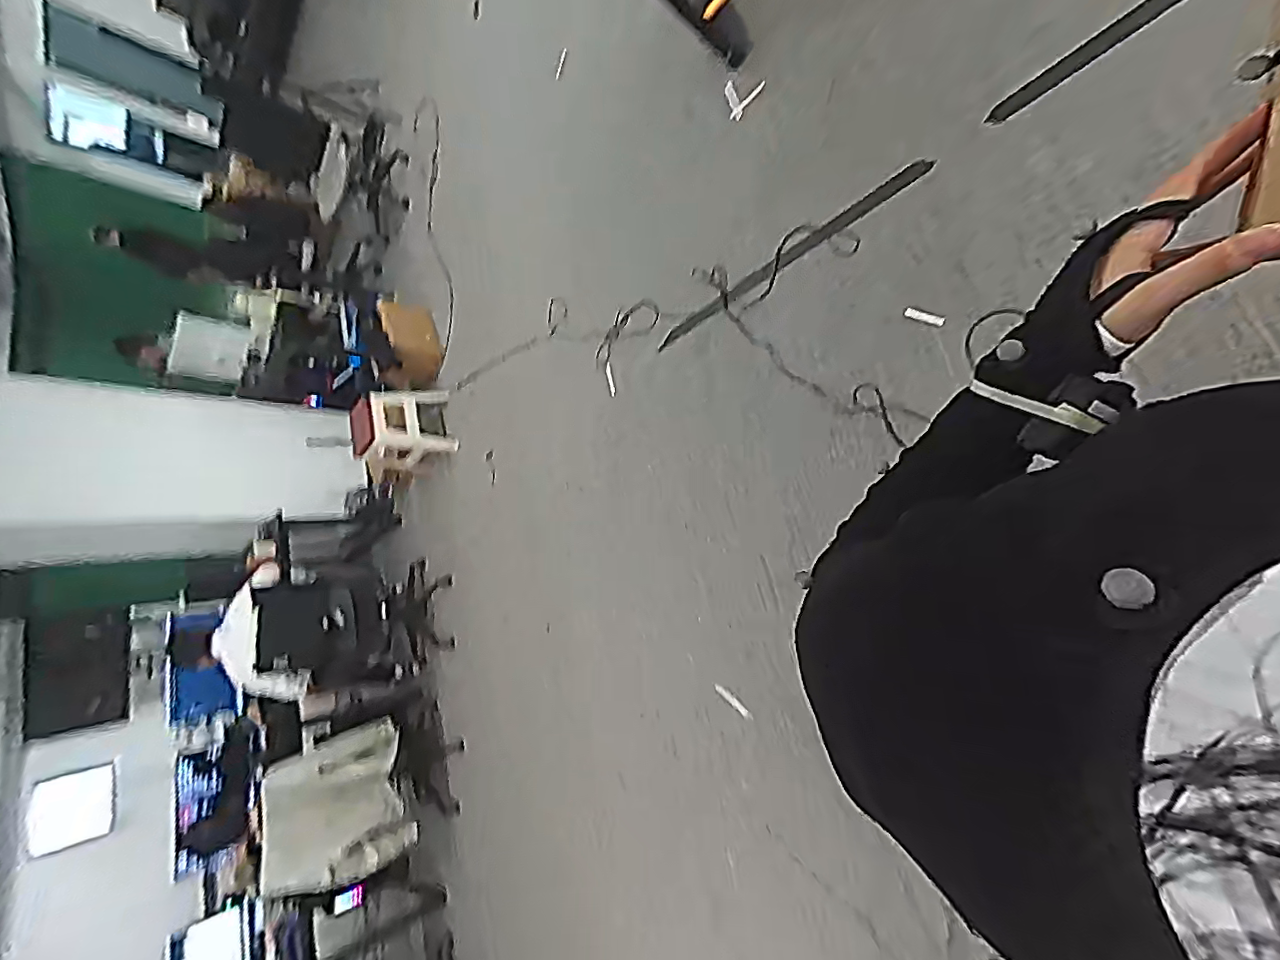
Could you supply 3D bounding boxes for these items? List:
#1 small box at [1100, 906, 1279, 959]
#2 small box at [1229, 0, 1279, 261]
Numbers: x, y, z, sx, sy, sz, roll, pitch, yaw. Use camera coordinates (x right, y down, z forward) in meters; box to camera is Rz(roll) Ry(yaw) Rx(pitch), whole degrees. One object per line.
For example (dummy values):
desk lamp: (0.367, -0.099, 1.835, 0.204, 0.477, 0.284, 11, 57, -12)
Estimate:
small box: (0.699, 0.671, 0.653, 0.168, 0.176, 0.179, -24, 70, 43)
small box: (0.434, -0.221, 0.273, 0.168, 0.176, 0.179, 9, 108, 43)
